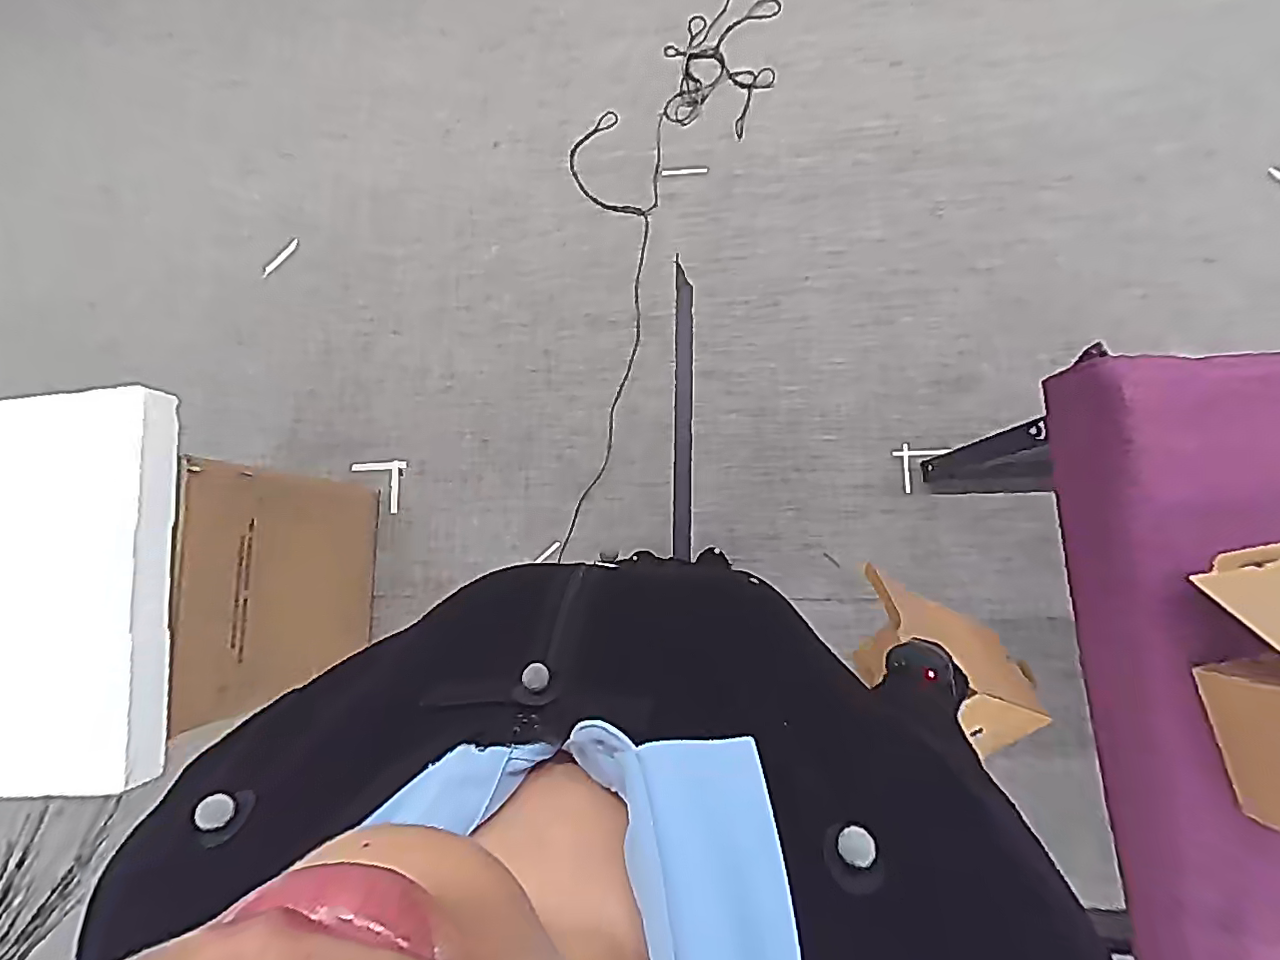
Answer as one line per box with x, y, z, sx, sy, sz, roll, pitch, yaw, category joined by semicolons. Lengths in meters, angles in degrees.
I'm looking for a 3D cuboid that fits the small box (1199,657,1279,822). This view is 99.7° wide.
0.777;0.289;0.581;0.168;0.176;0.179;-11;81;4;small box
